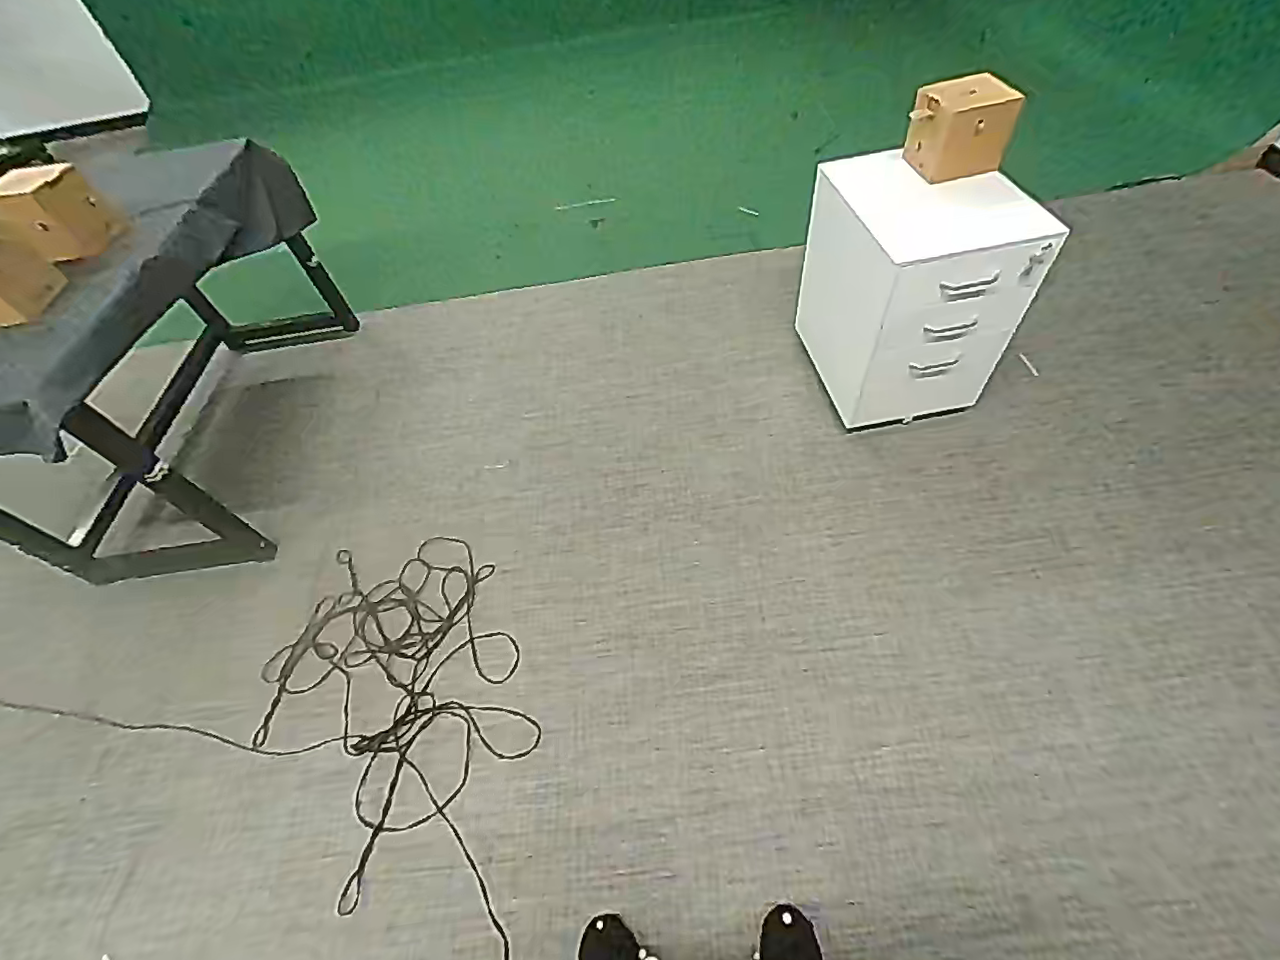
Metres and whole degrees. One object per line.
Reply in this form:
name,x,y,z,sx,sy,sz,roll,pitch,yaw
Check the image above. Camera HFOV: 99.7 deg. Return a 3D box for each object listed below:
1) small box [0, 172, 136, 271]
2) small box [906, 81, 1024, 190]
small box,-1.485,-0.666,1.400,0.179,0.176,0.168,-4,51,7
small box,0.806,-0.865,1.363,0.179,0.176,0.168,-12,53,1
